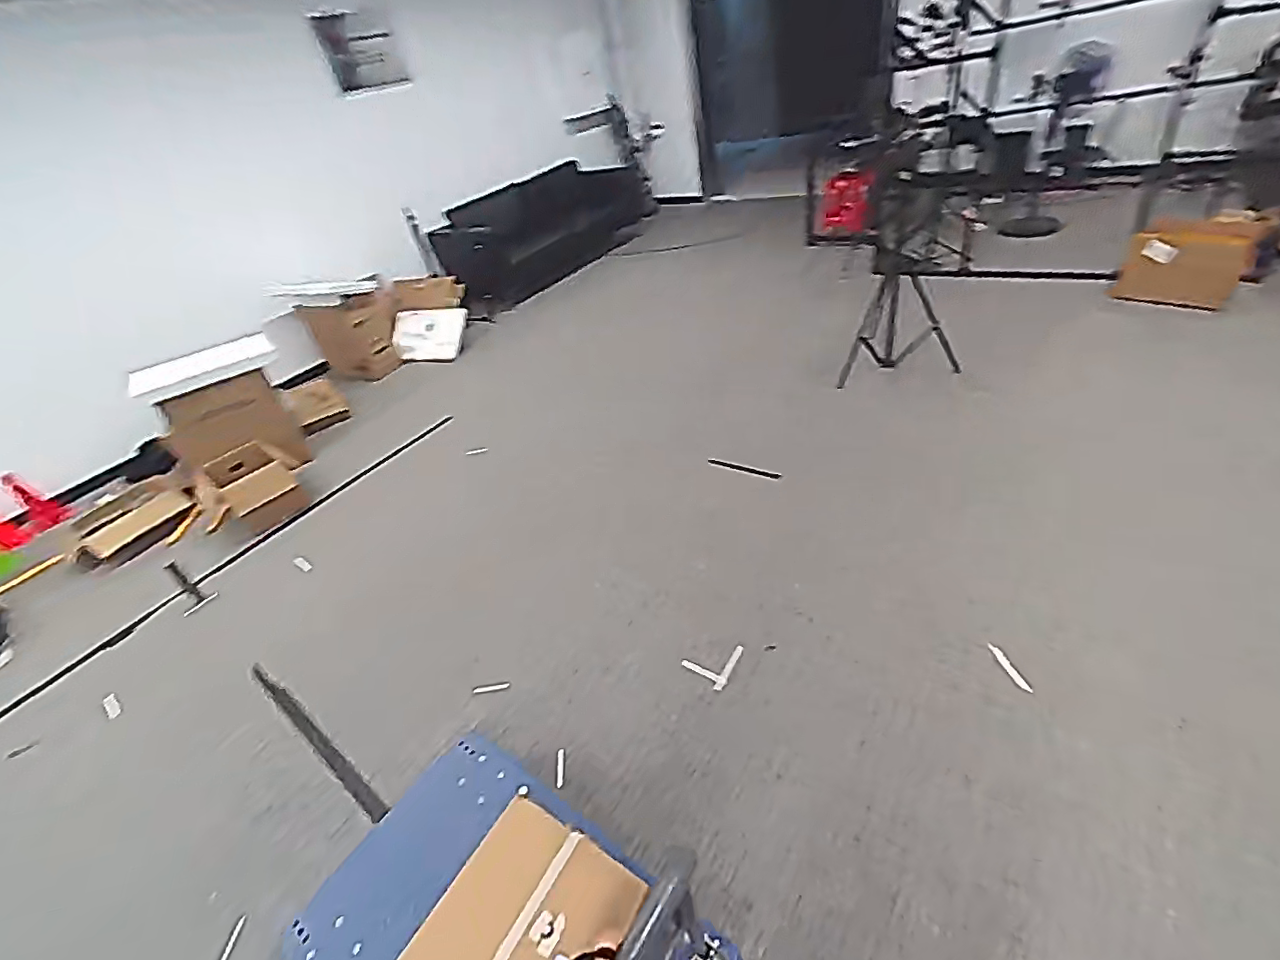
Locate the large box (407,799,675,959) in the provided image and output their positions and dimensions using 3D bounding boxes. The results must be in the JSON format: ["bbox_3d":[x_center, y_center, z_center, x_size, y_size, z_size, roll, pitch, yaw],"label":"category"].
[{"bbox_3d":[-0.182,0.885,0.942,0.320,0.320,0.408,15,43,32],"label":"large box"}]
